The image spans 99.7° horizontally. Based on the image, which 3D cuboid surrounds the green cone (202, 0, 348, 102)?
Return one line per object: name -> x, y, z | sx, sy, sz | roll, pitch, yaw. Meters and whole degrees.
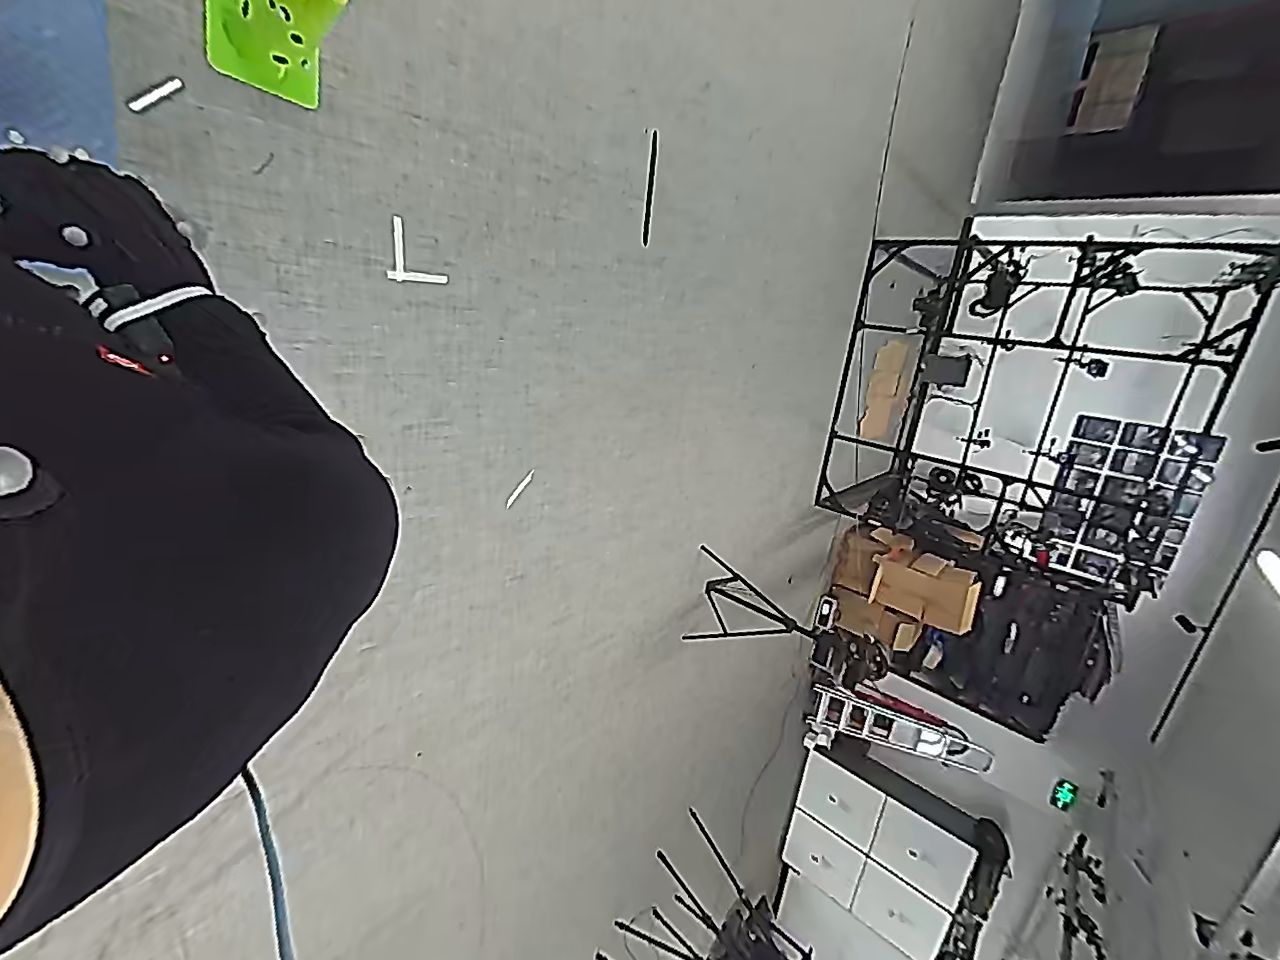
green cone -> -0.643, -0.876, 1.008 | 0.202, 0.368, 0.200 | -8, 112, -51
